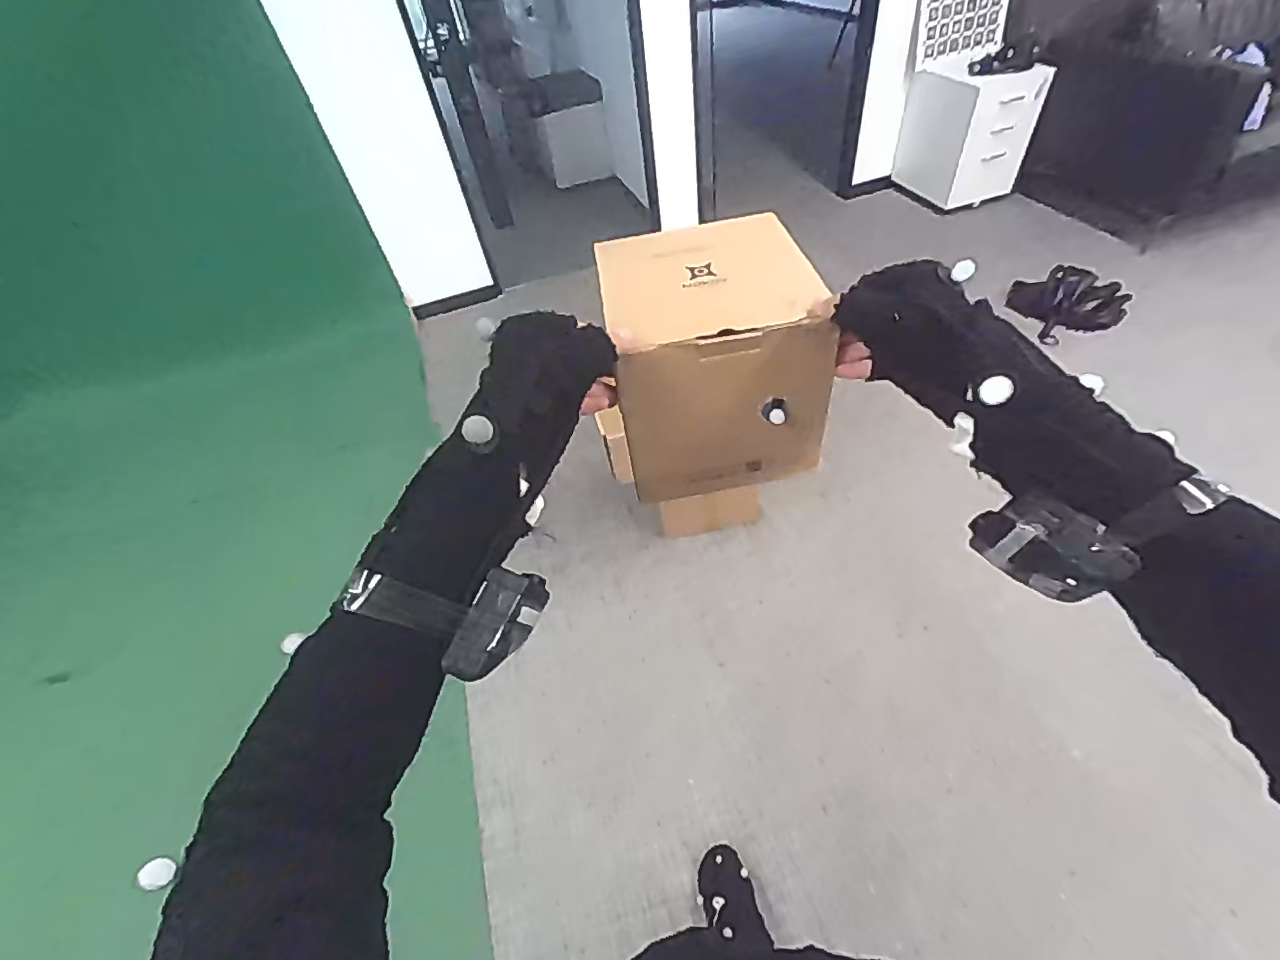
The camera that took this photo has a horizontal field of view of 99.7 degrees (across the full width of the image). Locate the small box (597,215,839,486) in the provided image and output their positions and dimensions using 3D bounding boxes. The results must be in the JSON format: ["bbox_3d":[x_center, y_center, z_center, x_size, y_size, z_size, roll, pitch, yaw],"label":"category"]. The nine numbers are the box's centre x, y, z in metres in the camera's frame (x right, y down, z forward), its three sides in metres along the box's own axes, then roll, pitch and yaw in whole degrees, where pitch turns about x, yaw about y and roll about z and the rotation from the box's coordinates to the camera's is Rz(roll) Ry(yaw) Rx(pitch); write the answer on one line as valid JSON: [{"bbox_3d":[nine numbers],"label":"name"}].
[{"bbox_3d":[0.061,-0.110,0.491,0.168,0.176,0.179,-10,46,0],"label":"small box"}]
